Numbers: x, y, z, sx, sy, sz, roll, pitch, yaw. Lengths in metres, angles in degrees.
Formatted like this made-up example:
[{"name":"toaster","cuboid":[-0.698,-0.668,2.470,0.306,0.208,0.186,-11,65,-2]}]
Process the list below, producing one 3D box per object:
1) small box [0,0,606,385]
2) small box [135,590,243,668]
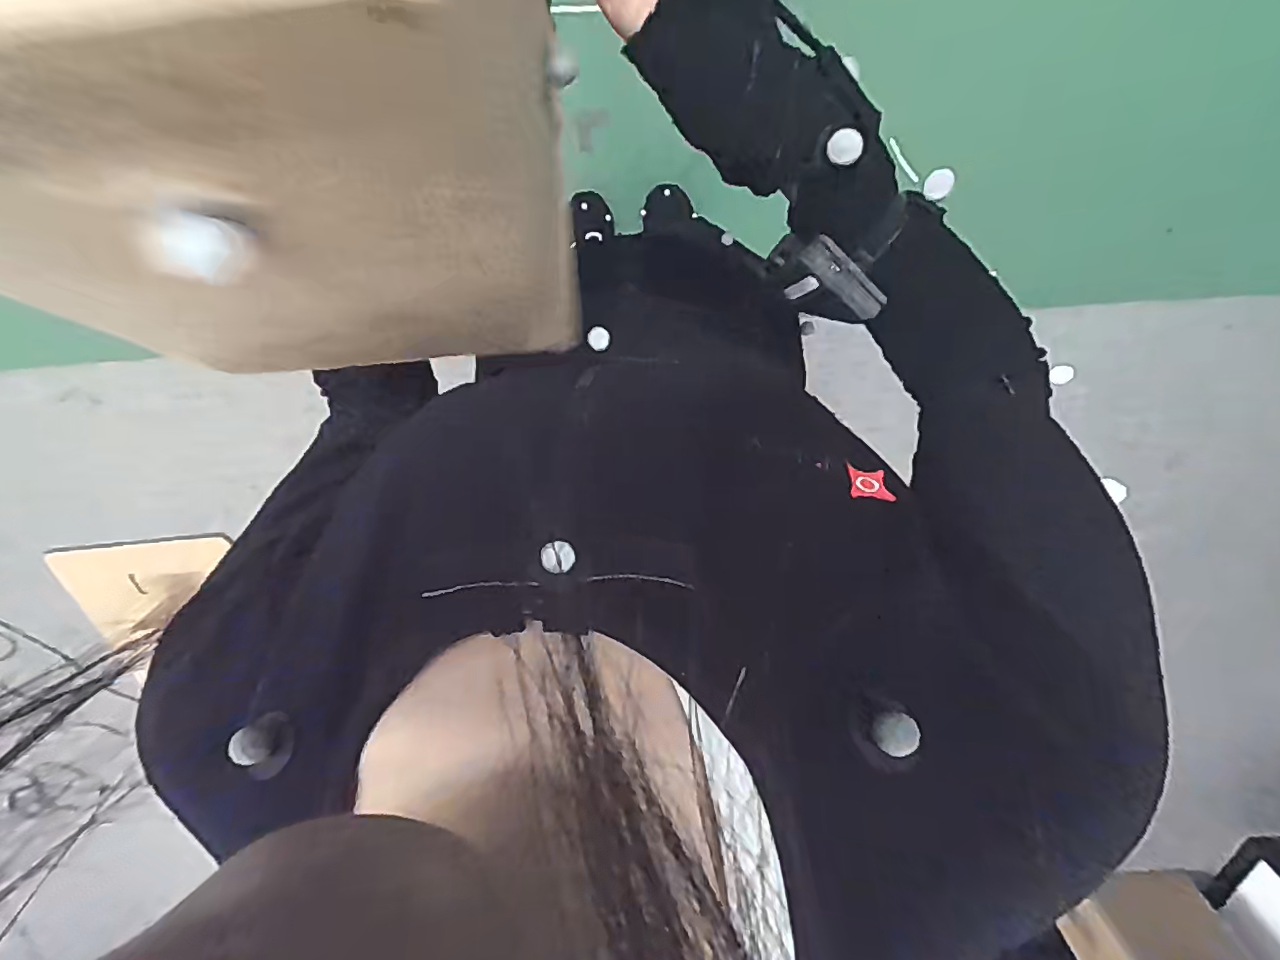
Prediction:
[{"name":"small box","cuboid":[-0.110,-0.148,0.180,0.168,0.176,0.179,-10,86,1]},{"name":"small box","cuboid":[-1.448,0.478,1.750,0.179,0.176,0.168,-8,118,2]}]
